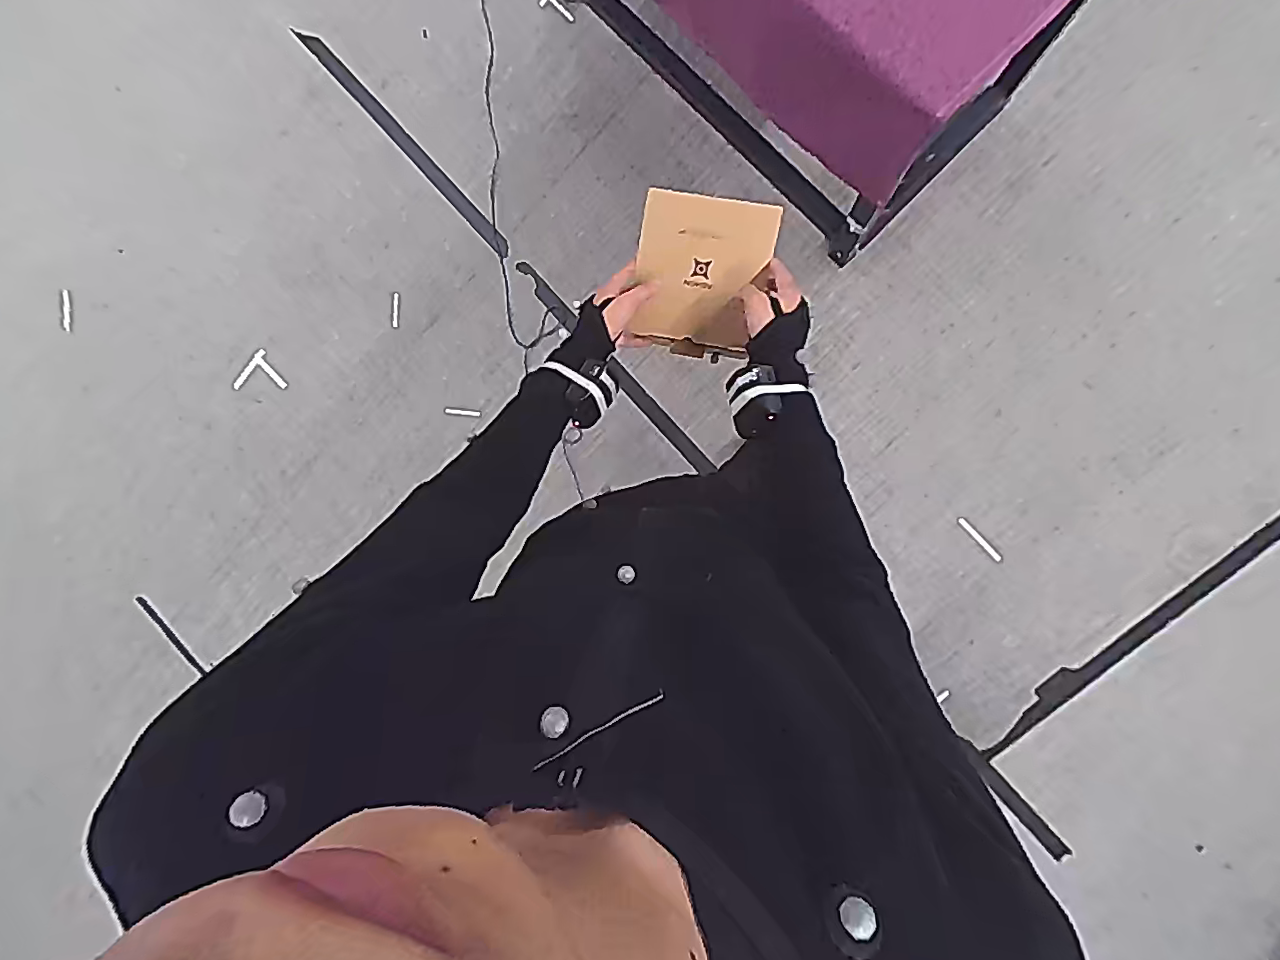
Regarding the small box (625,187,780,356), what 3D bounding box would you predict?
[{"bbox_3d":[0.086,-0.272,0.745,0.168,0.176,0.179,11,101,6],"label":"small box"}]
